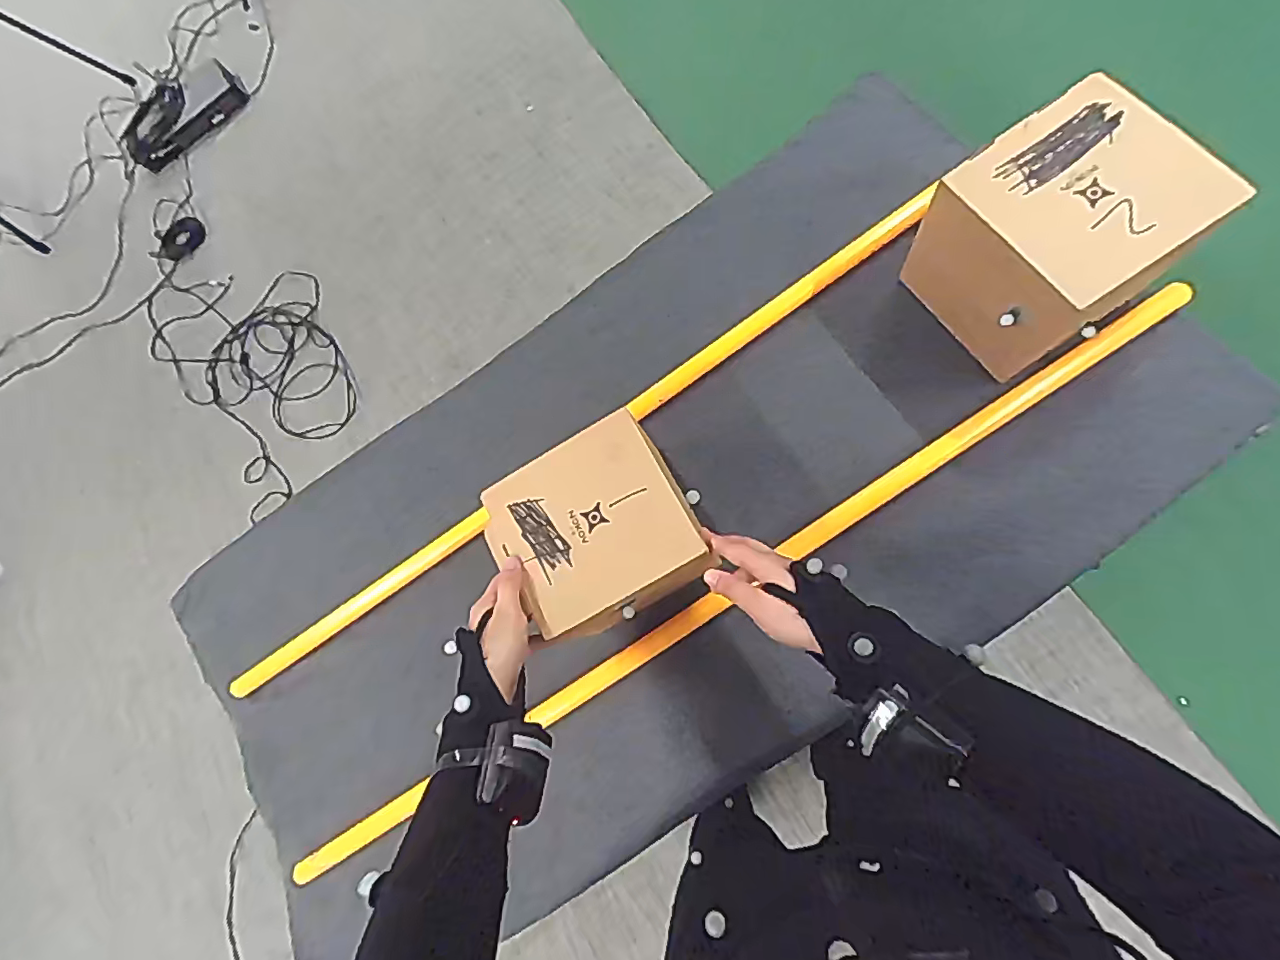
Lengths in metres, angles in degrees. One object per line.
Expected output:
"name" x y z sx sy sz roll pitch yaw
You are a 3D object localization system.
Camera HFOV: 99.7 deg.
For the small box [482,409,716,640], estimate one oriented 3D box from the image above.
"small box" -0.032 0.057 0.589 0.179 0.176 0.168 -31 74 5
